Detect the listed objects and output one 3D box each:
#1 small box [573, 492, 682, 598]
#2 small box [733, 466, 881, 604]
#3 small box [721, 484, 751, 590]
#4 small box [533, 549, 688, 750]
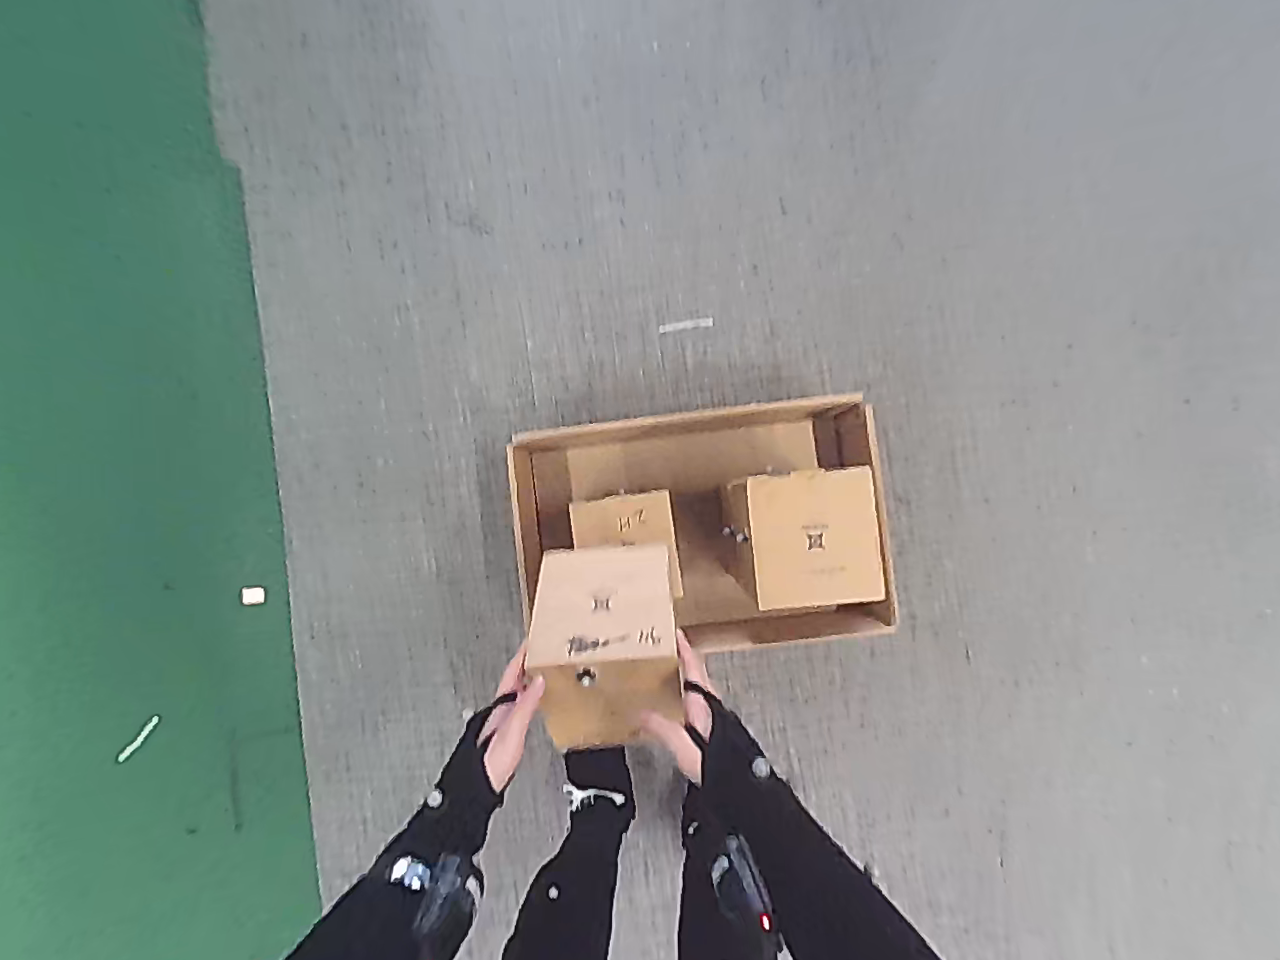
[{"bbox_3d":[-0.018,0.117,0.965,0.168,0.176,0.179,-8,88,0],"label":"small box"},{"bbox_3d":[0.235,0.077,0.800,0.168,0.176,0.179,-5,88,3],"label":"small box"},{"bbox_3d":[0.242,0.087,0.963,0.168,0.176,0.179,-8,87,2],"label":"small box"},{"bbox_3d":[-0.029,0.212,0.690,0.168,0.179,0.176,-6,122,2],"label":"small box"}]
